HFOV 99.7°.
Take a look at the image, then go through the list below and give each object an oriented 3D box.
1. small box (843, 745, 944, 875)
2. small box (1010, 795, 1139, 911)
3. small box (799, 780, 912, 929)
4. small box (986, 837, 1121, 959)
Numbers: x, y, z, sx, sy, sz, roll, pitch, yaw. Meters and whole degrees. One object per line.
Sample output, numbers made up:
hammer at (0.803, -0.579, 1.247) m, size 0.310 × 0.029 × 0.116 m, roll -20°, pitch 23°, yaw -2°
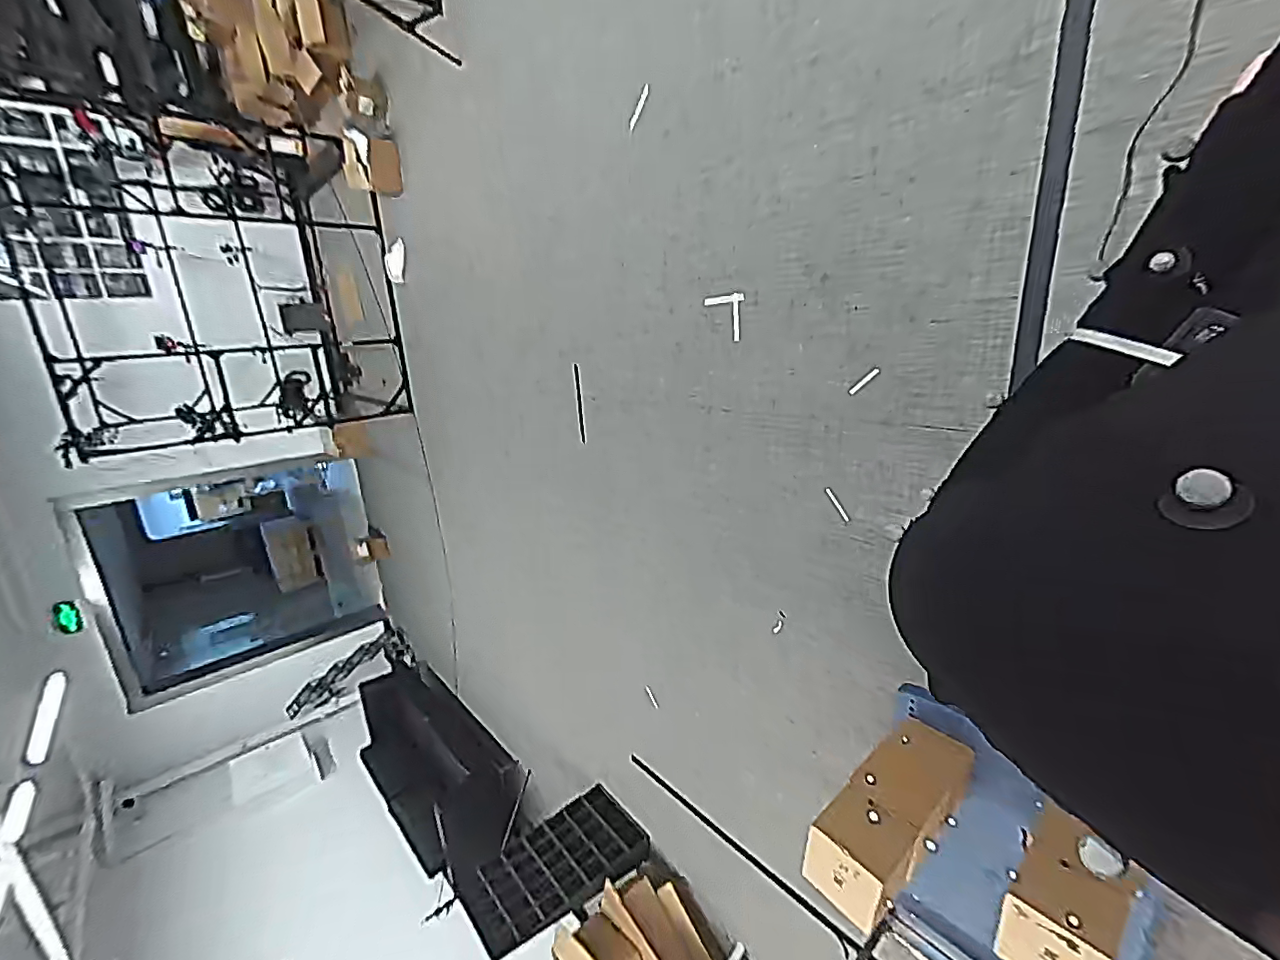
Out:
small box at (0.607, 0.788, 1.313) m, size 0.179 × 0.176 × 0.168 m, roll 23°, pitch 121°, yaw 45°
small box at (0.945, 0.835, 1.183) m, size 0.179 × 0.176 × 0.168 m, roll 21°, pitch 119°, yaw 44°
small box at (0.482, 0.829, 1.213) m, size 0.168 × 0.176 × 0.179 m, roll 25°, pitch 122°, yaw 44°
small box at (0.824, 0.875, 1.079) m, size 0.168 × 0.176 × 0.179 m, roll 18°, pitch 118°, yaw 46°
